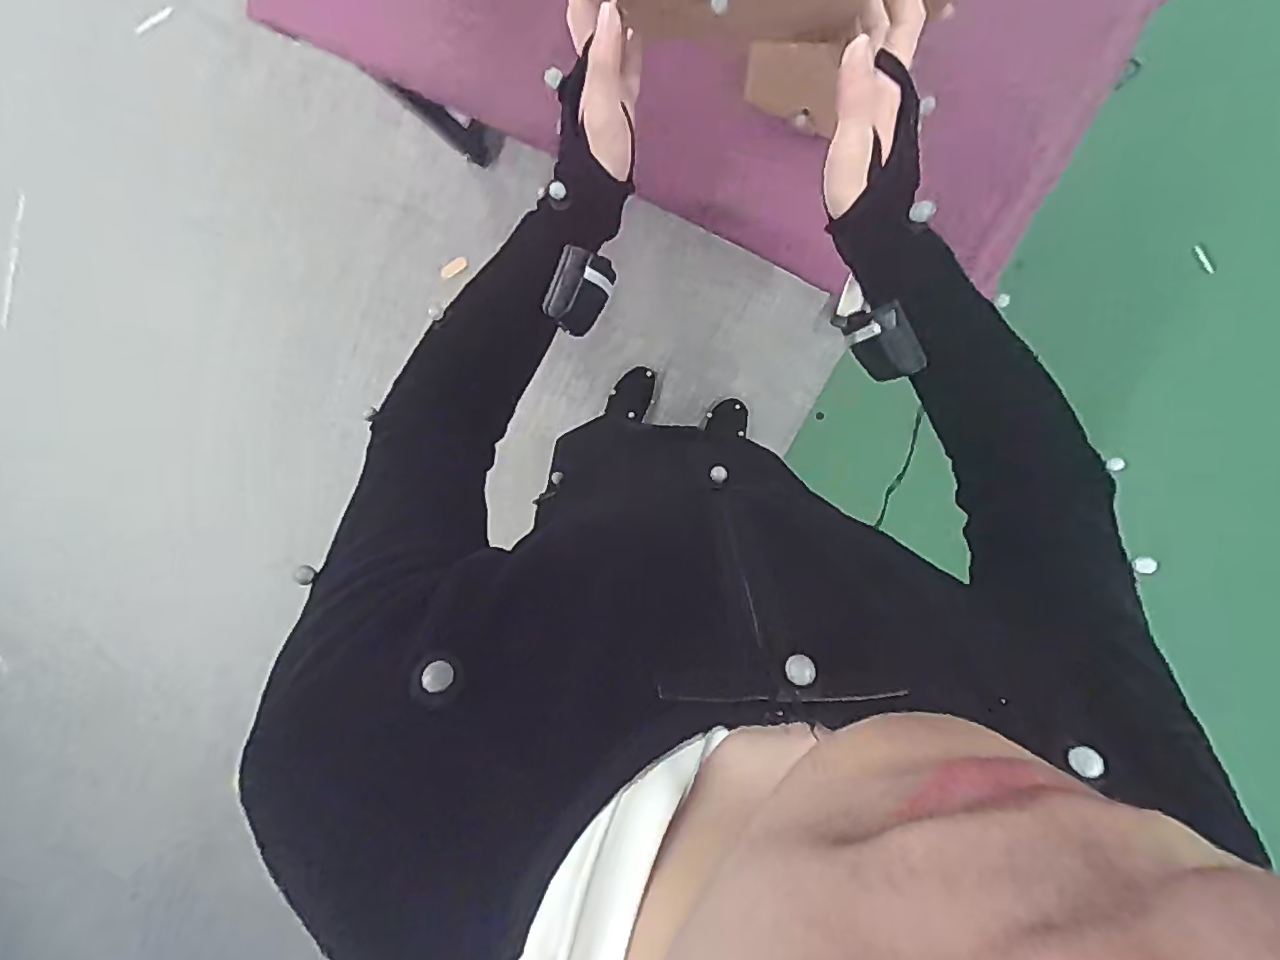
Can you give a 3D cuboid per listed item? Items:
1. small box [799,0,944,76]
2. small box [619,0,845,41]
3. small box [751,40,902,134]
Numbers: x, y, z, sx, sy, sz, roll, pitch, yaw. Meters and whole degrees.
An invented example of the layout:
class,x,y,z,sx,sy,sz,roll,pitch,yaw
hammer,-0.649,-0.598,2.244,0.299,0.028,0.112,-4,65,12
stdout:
class,x,y,z,sx,sy,sz,roll,pitch,yaw
small box,0.236,-0.543,0.524,0.179,0.176,0.168,27,105,2
small box,0.068,-0.417,0.360,0.179,0.176,0.168,6,117,7
small box,0.256,-0.575,0.683,0.179,0.176,0.168,25,104,1
